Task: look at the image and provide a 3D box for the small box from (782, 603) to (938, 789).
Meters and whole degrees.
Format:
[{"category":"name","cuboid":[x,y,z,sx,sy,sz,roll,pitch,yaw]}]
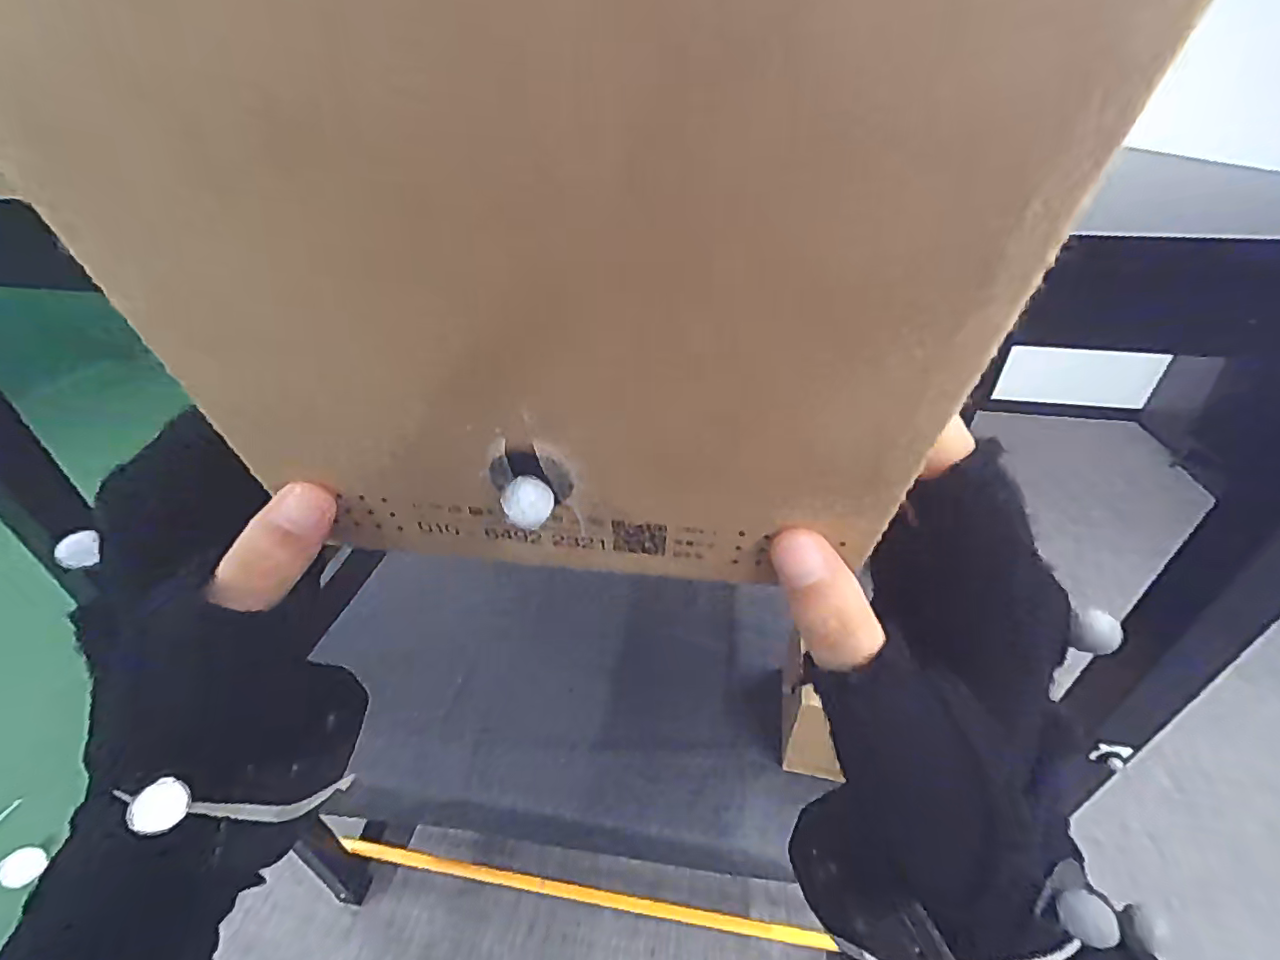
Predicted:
[{"category":"small box","cuboid":[0.303,0.310,0.781,0.168,0.176,0.179,8,36,10]}]
